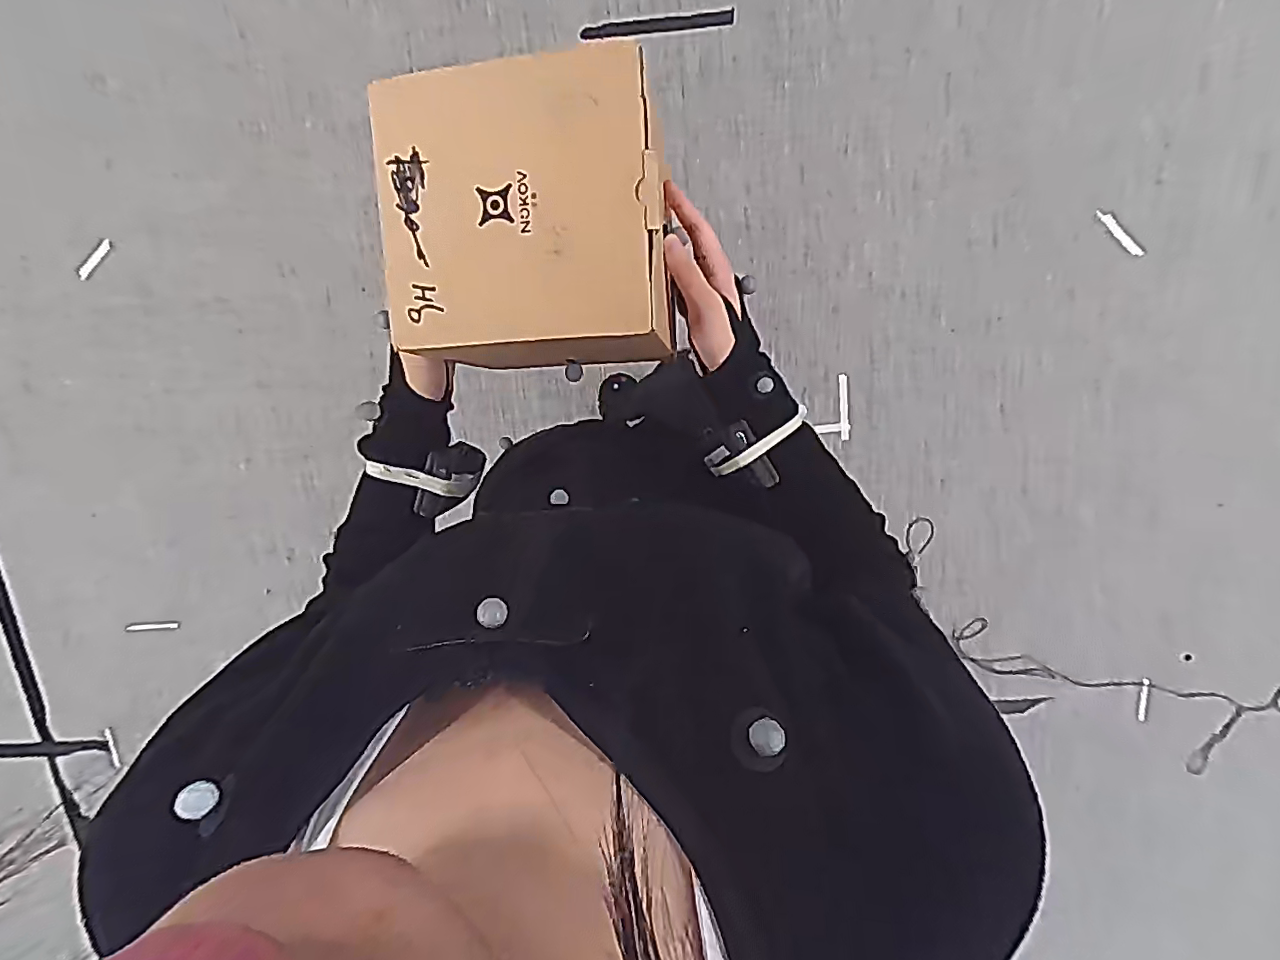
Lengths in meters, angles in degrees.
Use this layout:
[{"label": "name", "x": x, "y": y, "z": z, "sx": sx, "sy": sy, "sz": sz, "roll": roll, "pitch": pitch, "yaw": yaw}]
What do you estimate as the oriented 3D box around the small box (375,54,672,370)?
[{"label": "small box", "x": -0.066, "y": -0.175, "z": 0.411, "sx": 0.179, "sy": 0.176, "sz": 0.168, "roll": -1, "pitch": 96, "yaw": 8}]
